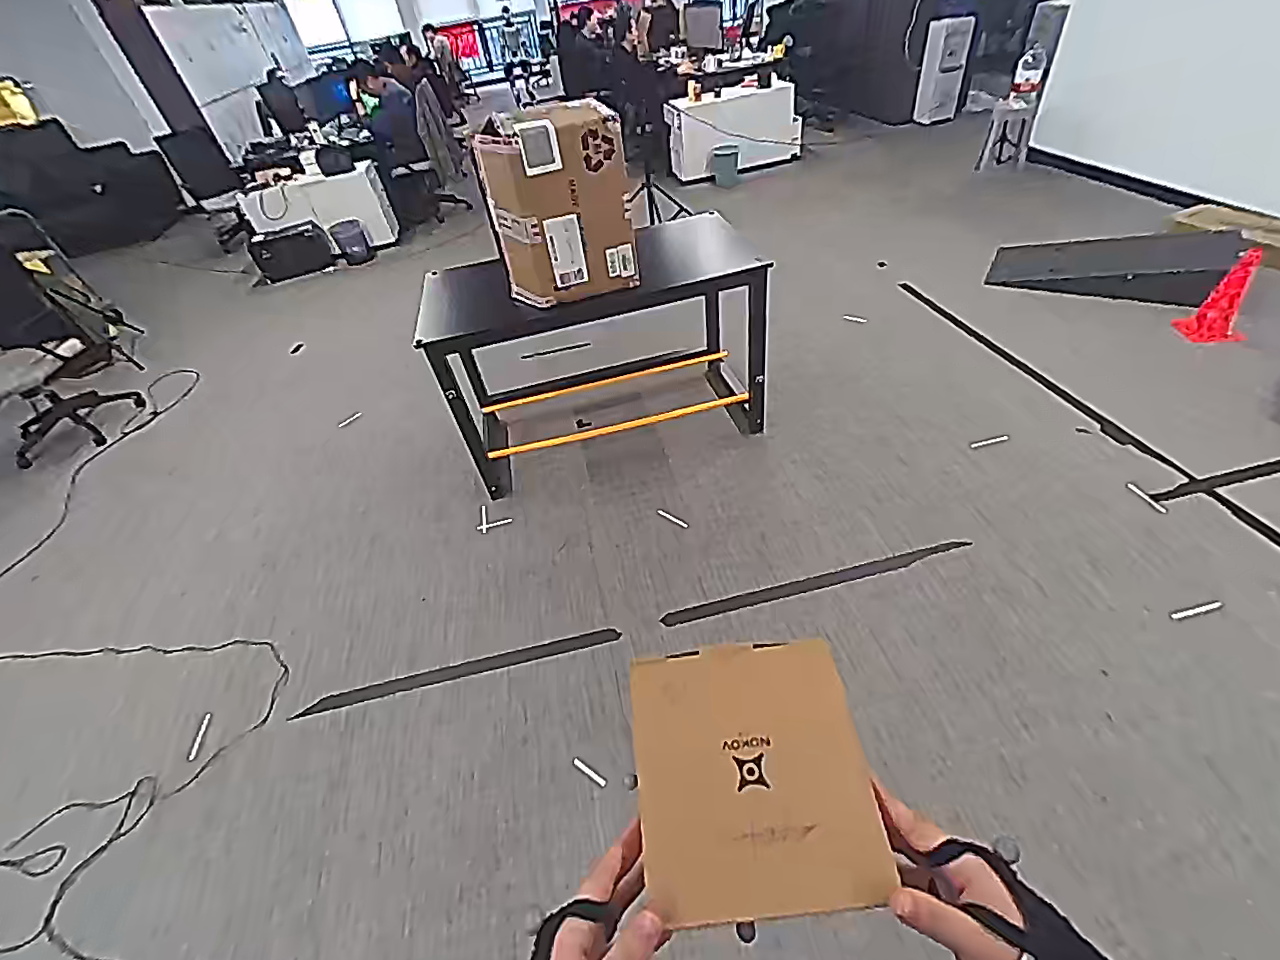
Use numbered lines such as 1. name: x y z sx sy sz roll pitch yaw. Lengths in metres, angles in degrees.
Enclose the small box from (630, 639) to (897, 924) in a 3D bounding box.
1. small box: 0.082 0.255 0.457 0.168 0.176 0.179 -7 53 1
